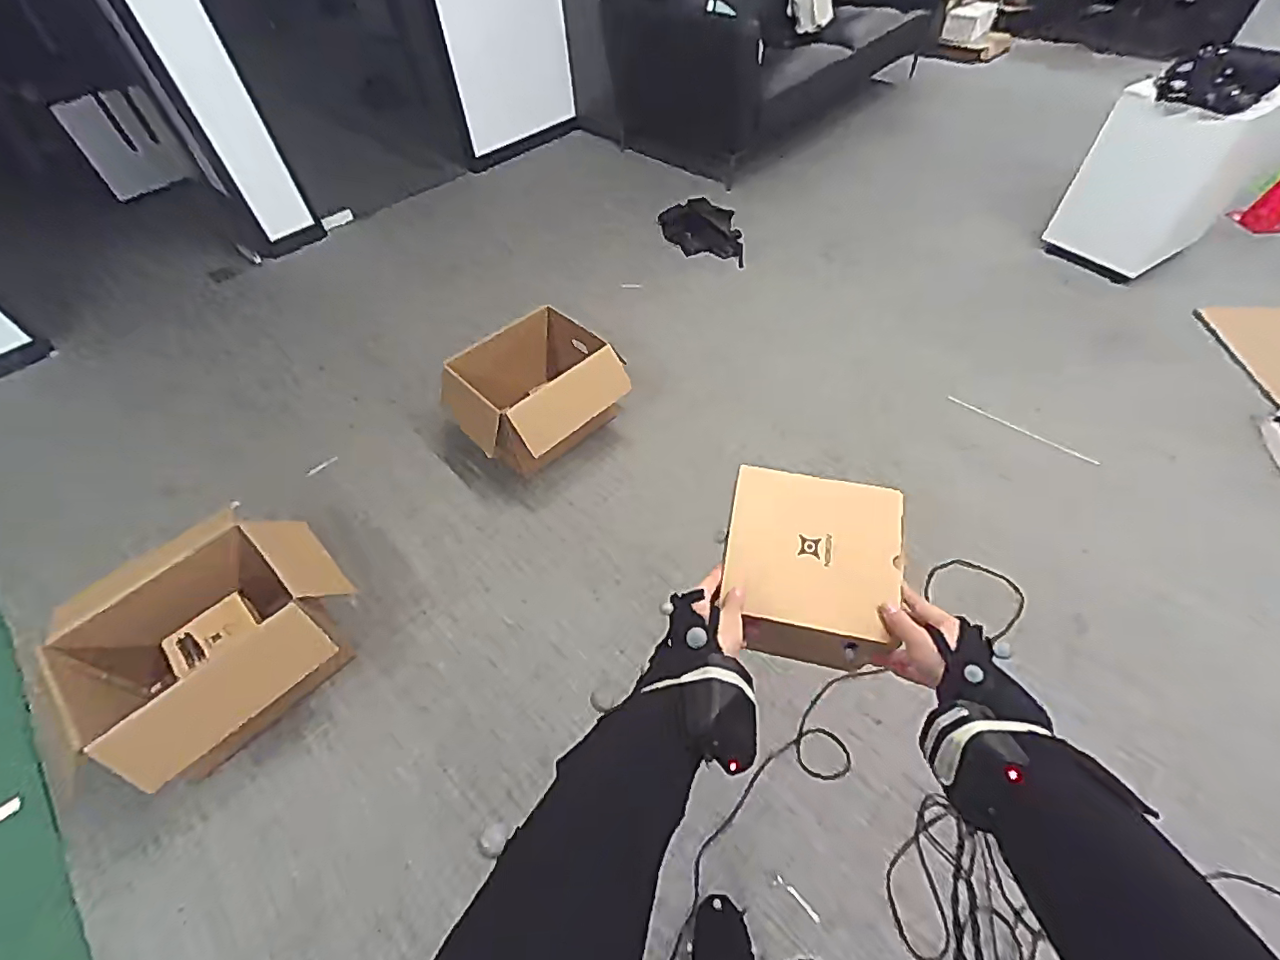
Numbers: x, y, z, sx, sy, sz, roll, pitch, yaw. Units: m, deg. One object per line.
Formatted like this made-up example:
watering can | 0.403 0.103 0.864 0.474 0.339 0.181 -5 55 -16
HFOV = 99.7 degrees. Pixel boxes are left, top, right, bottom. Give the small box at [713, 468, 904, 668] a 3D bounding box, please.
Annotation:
small box | 0.182 0.107 0.618 0.179 0.176 0.168 9 64 8
